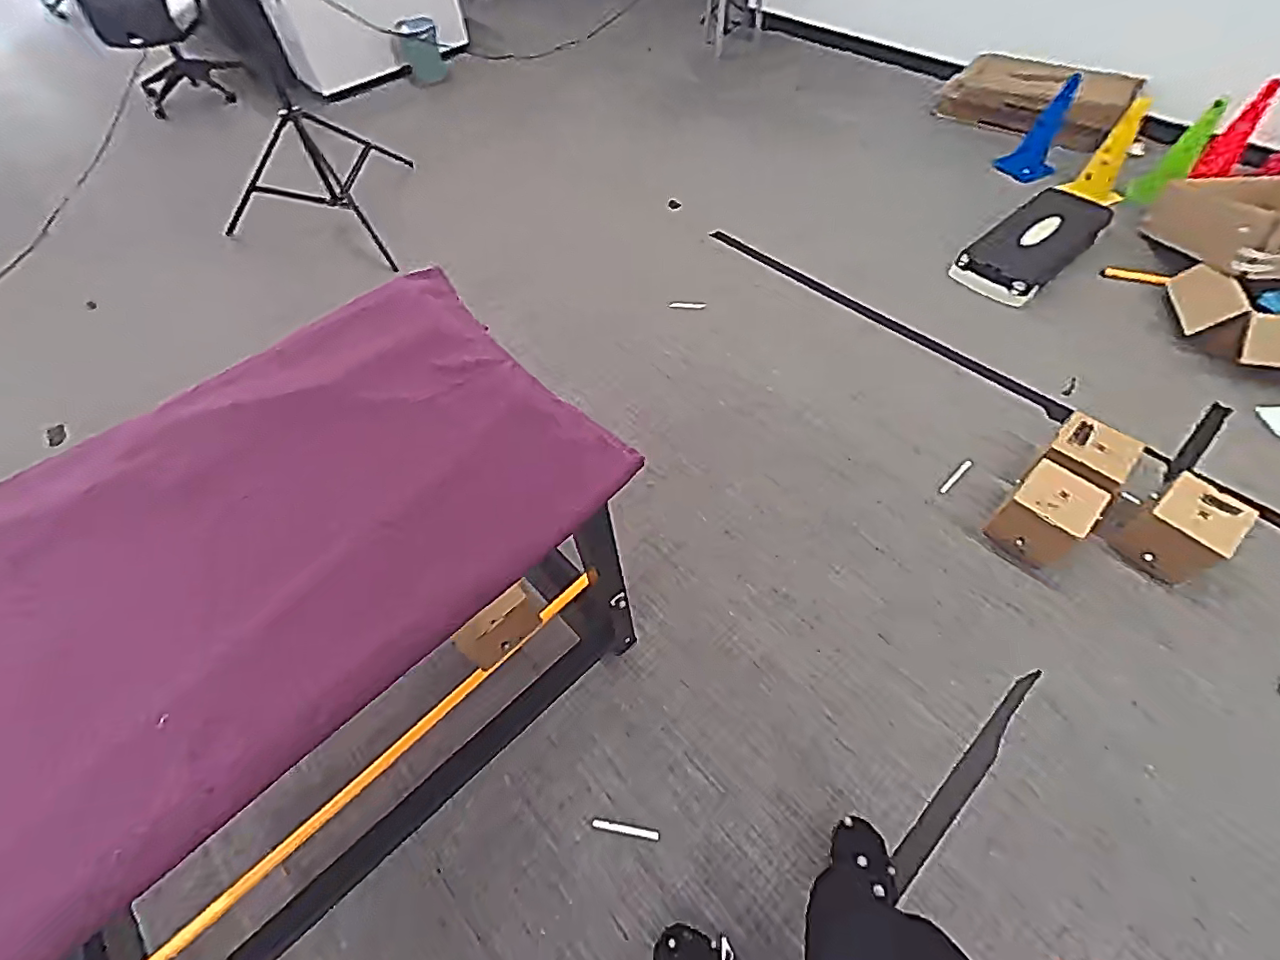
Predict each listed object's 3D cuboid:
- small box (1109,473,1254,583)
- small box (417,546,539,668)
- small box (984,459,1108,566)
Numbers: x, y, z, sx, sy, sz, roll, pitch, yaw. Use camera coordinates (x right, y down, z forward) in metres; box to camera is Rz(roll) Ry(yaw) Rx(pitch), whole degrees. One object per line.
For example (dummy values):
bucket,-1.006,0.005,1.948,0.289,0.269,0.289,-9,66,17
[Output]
small box,1.329,0.122,1.341,0.179,0.176,0.168,-37,62,-19
small box,-0.350,0.284,1.193,0.168,0.176,0.179,-40,64,-20
small box,1.025,0.086,1.381,0.179,0.176,0.168,-40,62,-21
